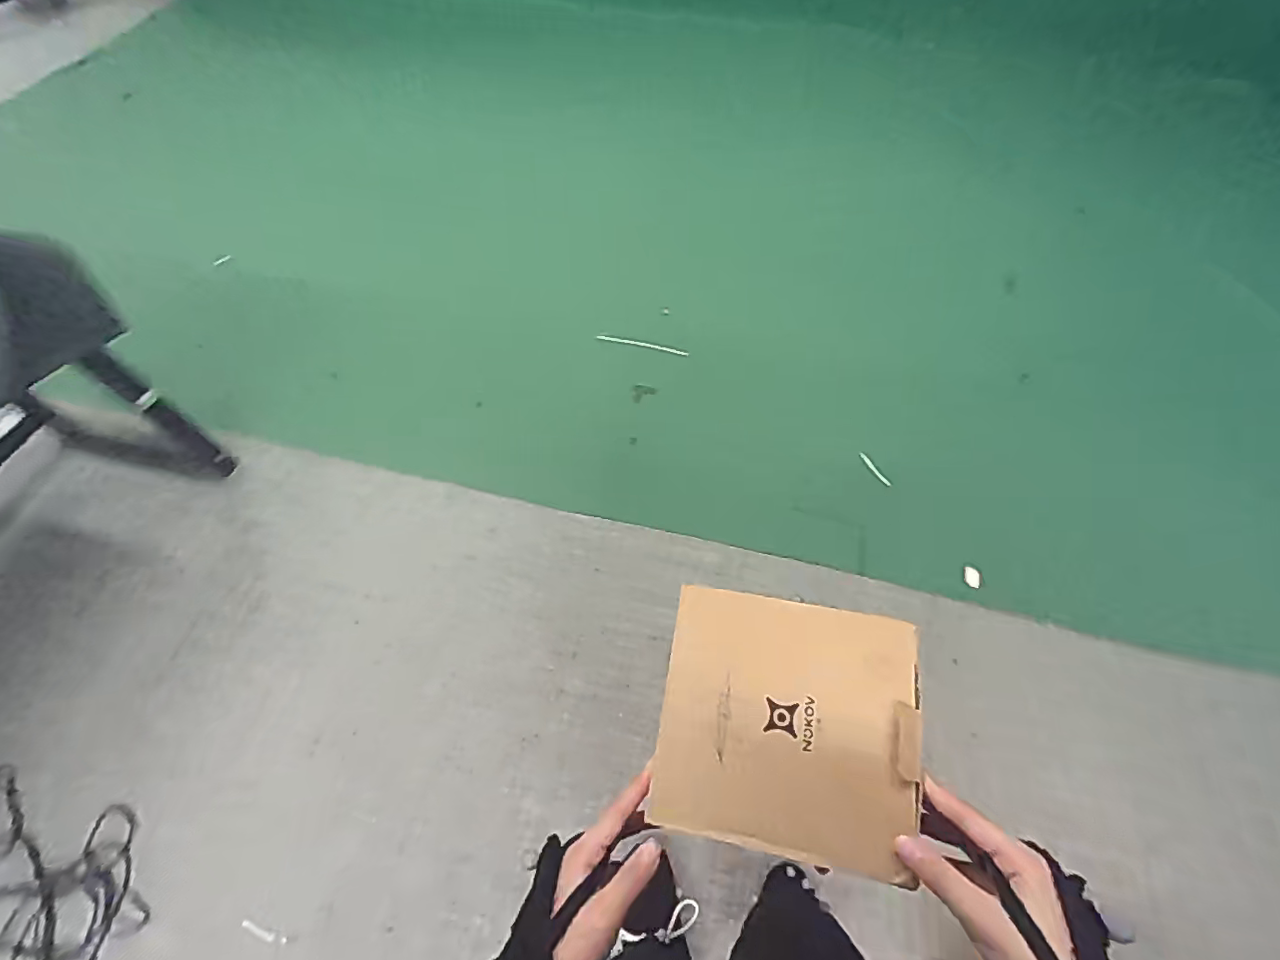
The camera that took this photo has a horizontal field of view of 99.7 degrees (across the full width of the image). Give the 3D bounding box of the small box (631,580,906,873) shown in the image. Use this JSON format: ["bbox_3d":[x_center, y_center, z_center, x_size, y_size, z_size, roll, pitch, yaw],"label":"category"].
[{"bbox_3d":[0.101,0.193,0.449,0.179,0.176,0.168,5,66,11],"label":"small box"}]
